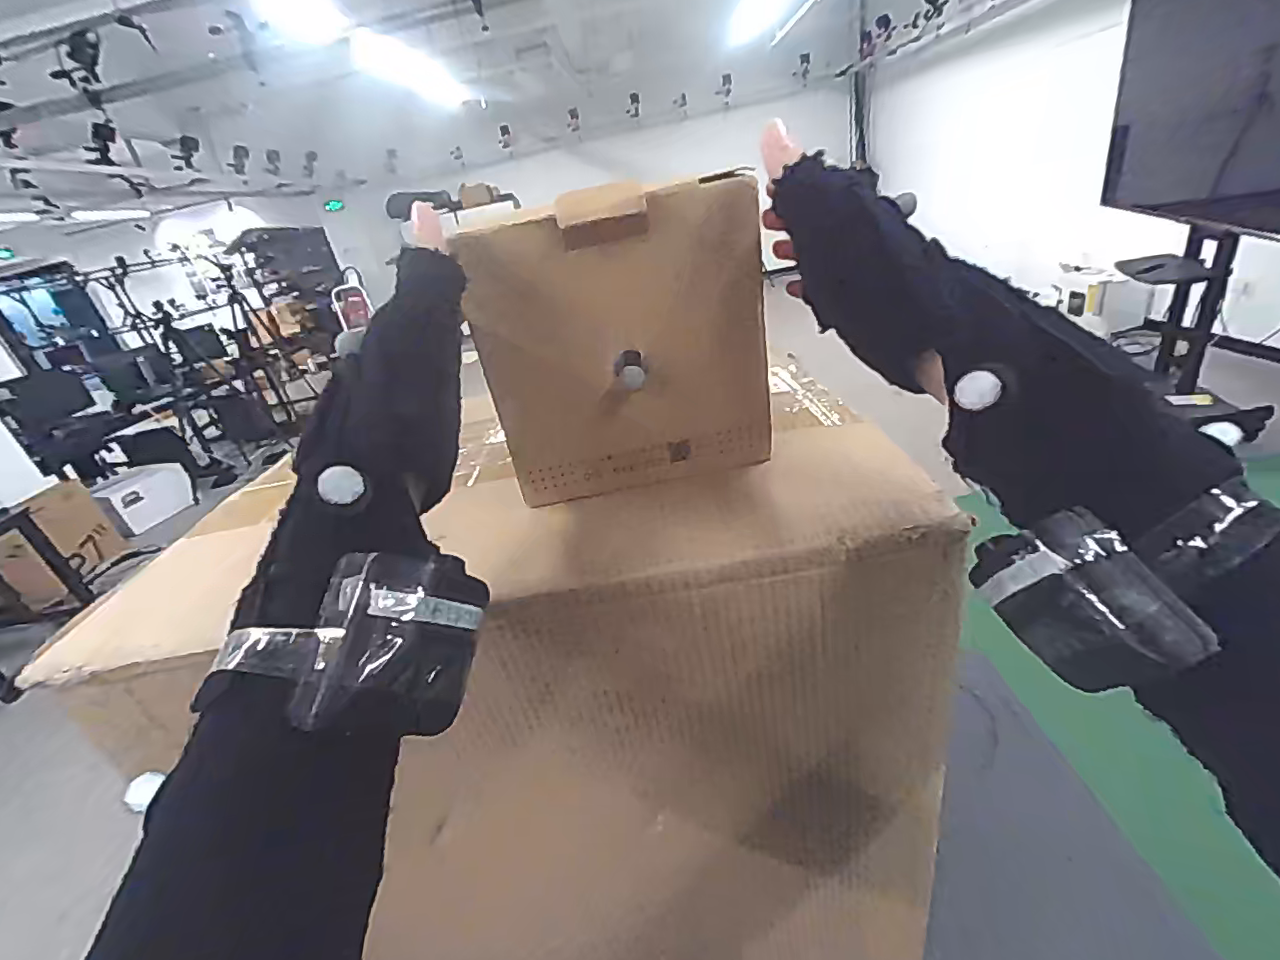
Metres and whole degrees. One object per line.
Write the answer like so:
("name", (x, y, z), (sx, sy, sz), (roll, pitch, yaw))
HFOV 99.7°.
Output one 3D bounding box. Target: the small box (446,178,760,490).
("small box", (-0.017, -0.106, 0.394), (0.168, 0.176, 0.179), (-12, 30, 0))
